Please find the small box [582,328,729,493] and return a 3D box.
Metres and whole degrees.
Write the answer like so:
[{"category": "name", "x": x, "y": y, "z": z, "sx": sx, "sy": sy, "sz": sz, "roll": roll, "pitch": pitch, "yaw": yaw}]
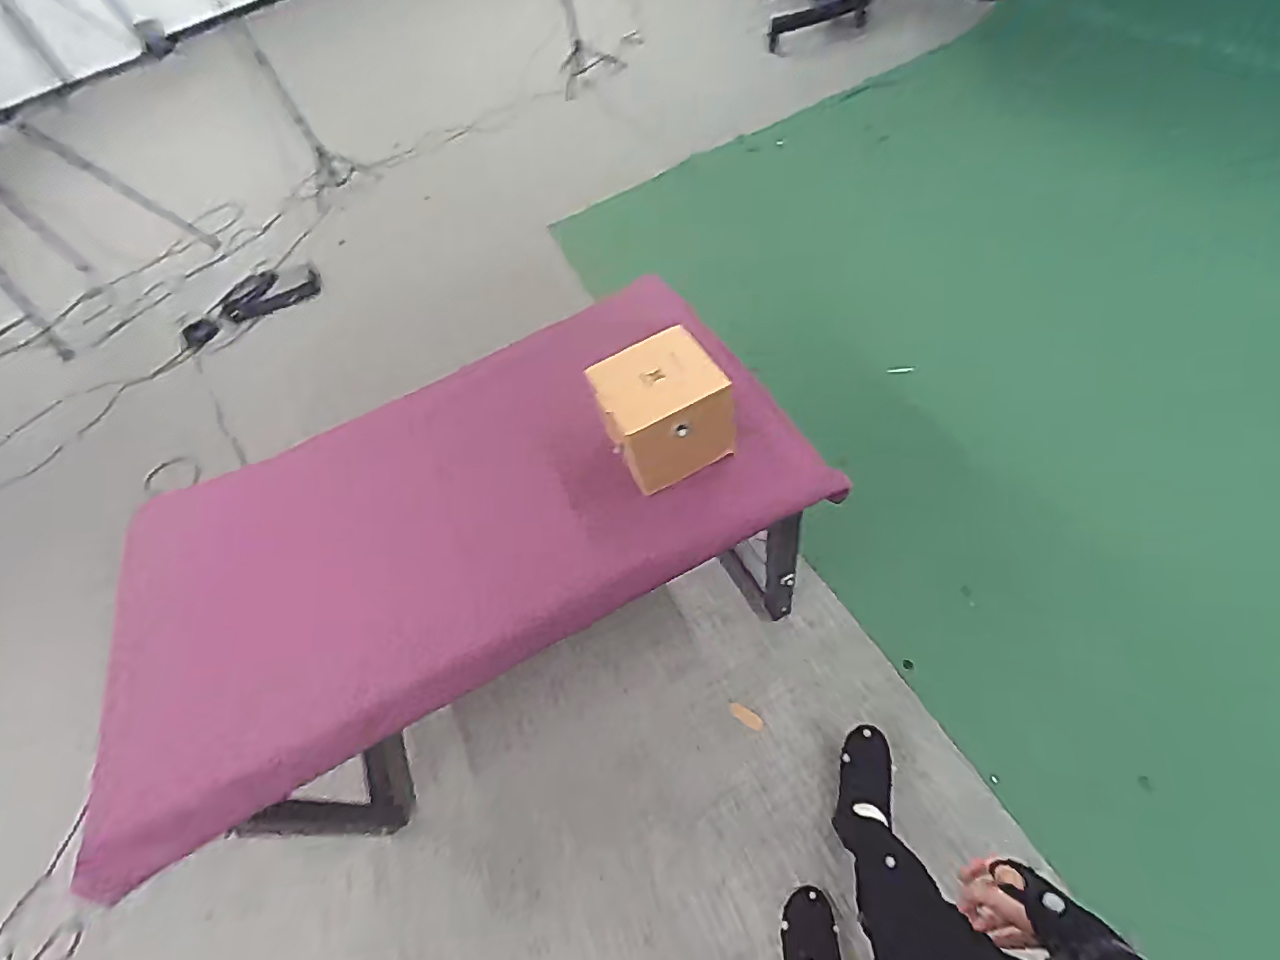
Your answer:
[{"category": "small box", "x": 0.031, "y": -0.107, "z": 0.883, "sx": 0.179, "sy": 0.176, "sz": 0.168, "roll": -26, "pitch": 54, "yaw": -6}]
